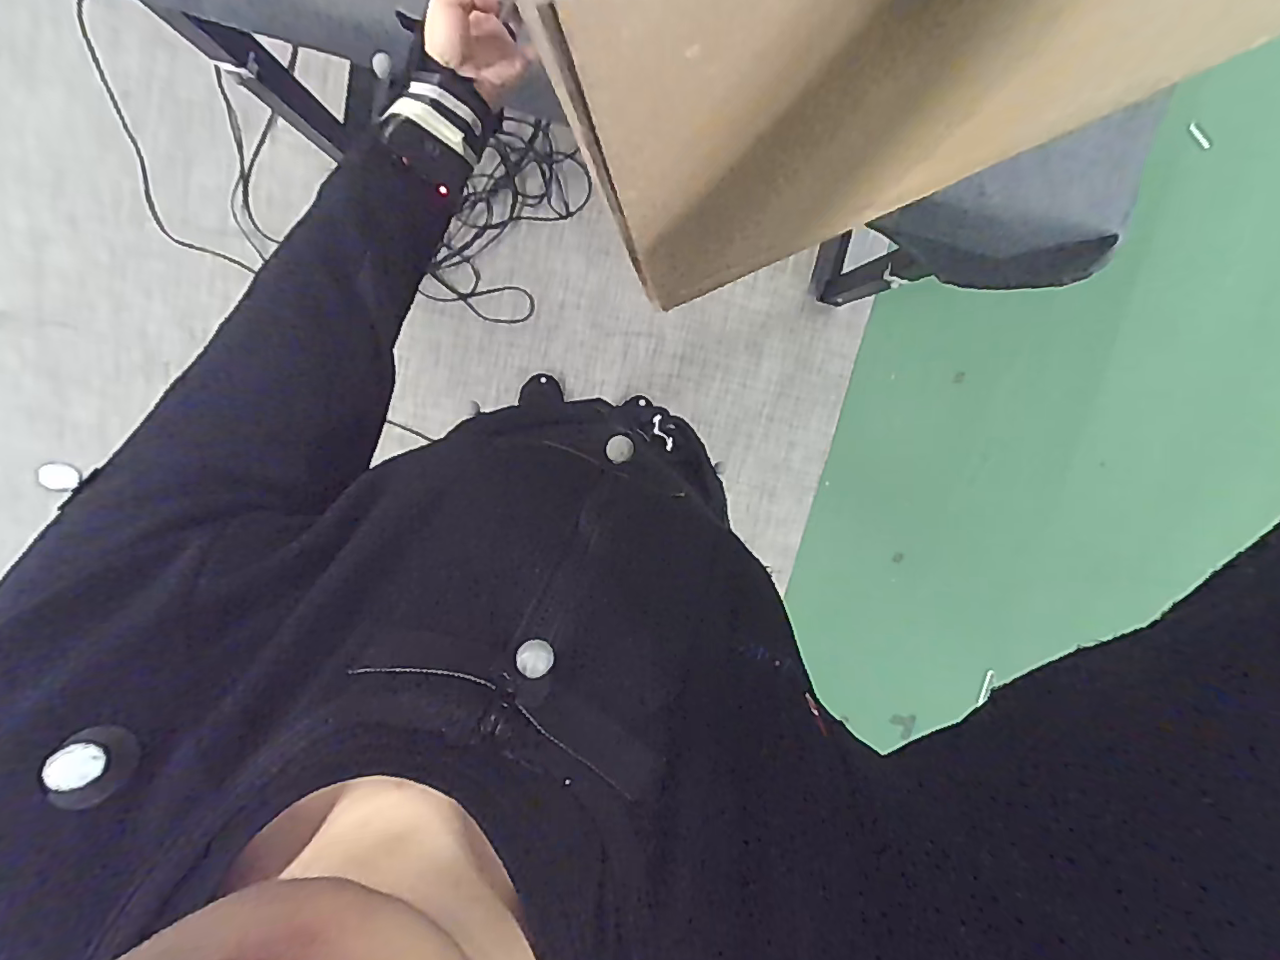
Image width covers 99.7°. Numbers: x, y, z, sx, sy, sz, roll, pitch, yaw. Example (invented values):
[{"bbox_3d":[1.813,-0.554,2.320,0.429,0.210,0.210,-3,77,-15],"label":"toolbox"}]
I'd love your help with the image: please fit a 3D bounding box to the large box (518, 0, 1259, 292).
[{"bbox_3d":[0.047,-0.366,0.200,0.320,0.320,0.408,-25,69,5],"label":"large box"}]
